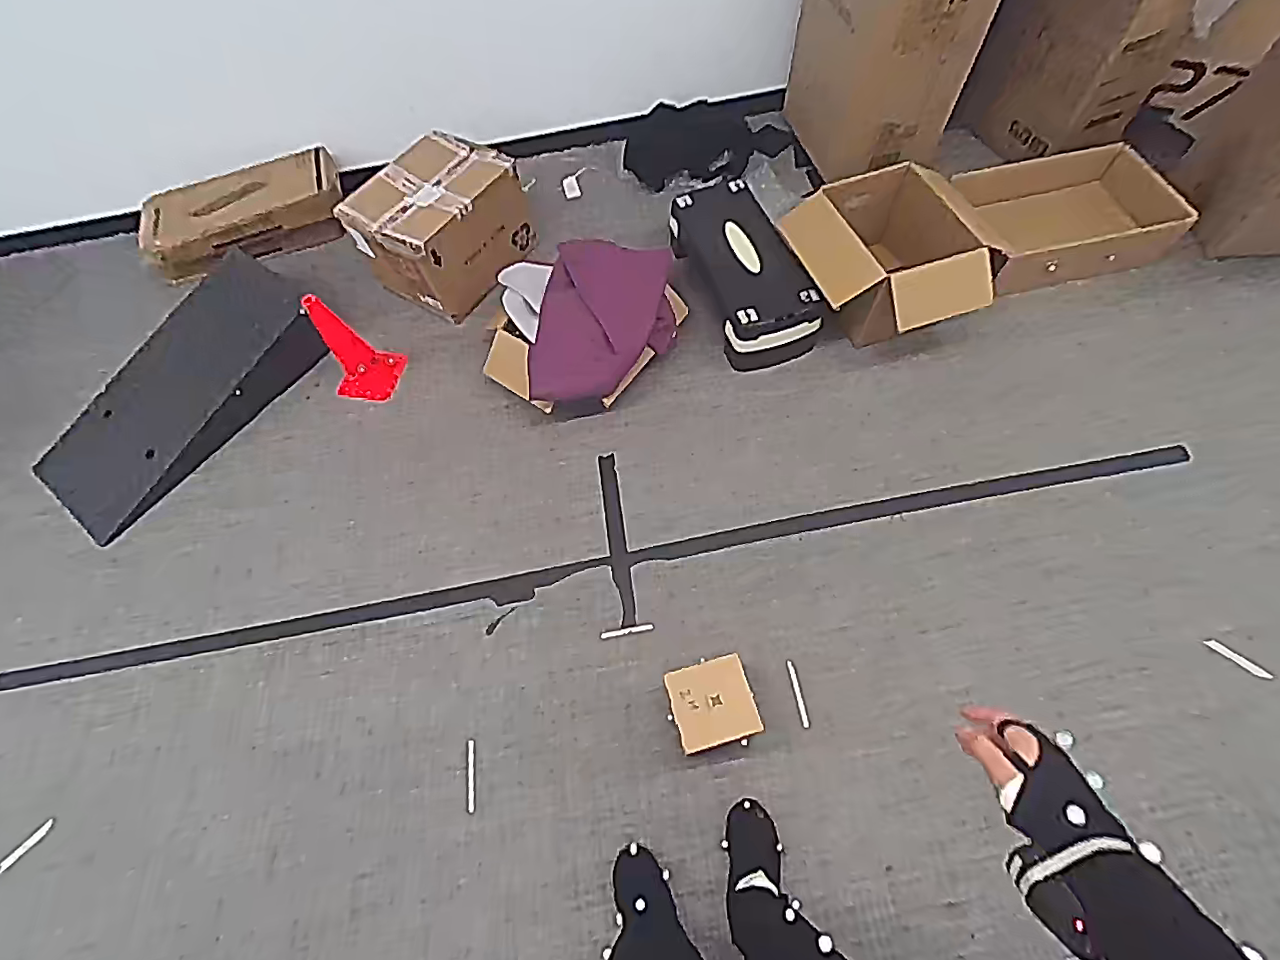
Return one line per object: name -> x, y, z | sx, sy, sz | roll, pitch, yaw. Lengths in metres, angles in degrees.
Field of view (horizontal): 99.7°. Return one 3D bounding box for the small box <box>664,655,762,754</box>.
small box -> 0.159, 0.513, 1.232 | 0.179, 0.176, 0.168 | -16, 63, -3
